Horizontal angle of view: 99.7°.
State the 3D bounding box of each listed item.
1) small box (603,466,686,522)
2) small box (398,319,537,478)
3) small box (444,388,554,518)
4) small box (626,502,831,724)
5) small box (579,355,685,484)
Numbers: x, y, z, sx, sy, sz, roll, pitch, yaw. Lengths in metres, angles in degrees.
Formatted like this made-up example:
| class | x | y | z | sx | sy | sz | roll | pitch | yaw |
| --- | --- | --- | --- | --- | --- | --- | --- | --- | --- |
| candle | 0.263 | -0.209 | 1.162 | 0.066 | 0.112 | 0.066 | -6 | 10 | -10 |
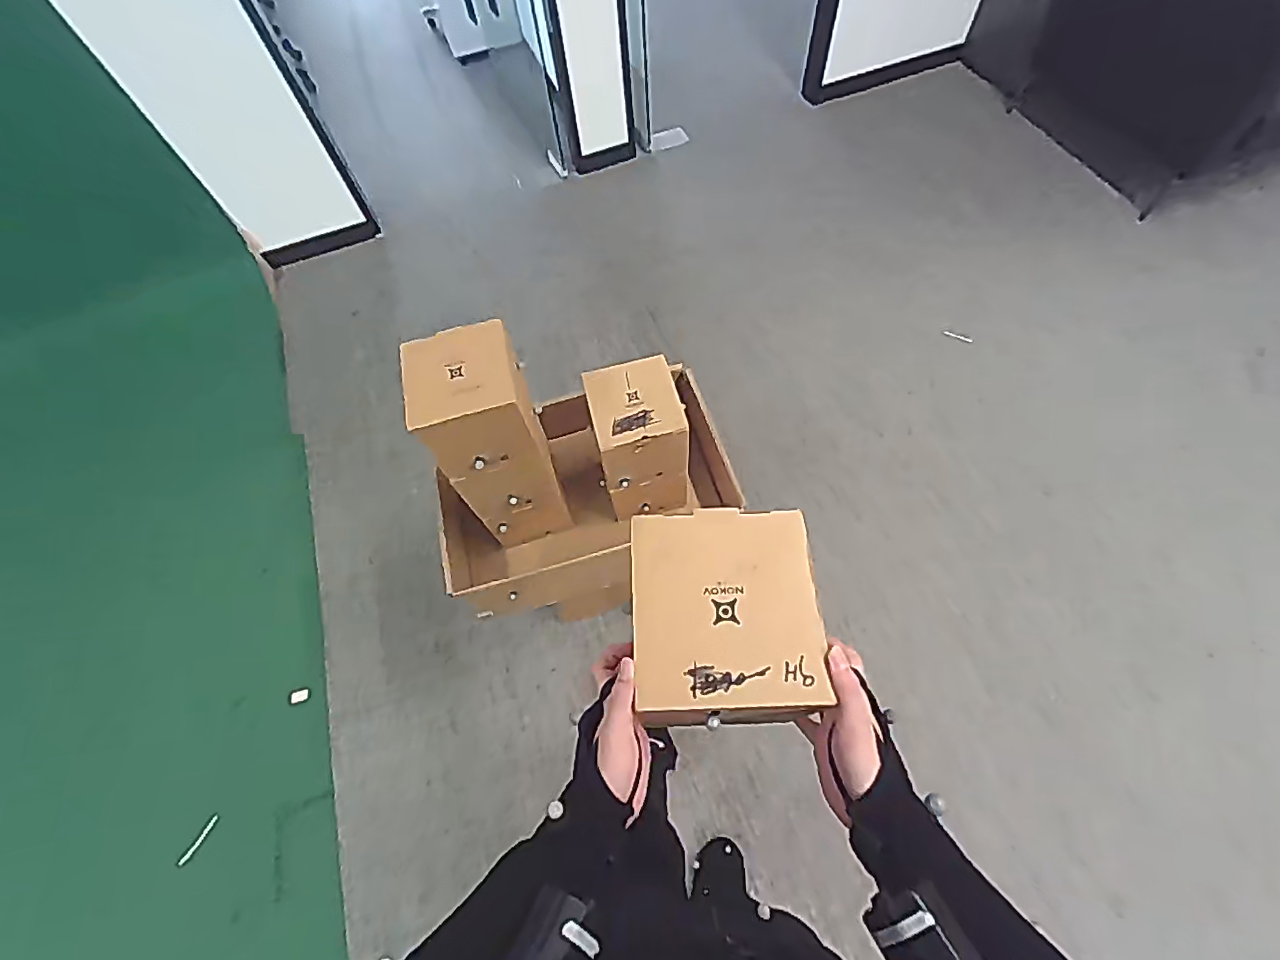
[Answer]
| class | x | y | z | sx | sy | sz | roll | pitch | yaw |
| --- | --- | --- | --- | --- | --- | --- | --- | --- | --- |
| small box | -0.001 | -0.032 | 1.195 | 0.168 | 0.176 | 0.179 | -15 | 63 | -4 |
| small box | -0.280 | -0.129 | 0.894 | 0.168 | 0.176 | 0.179 | -16 | 62 | -3 |
| small box | -0.273 | -0.053 | 1.038 | 0.168 | 0.176 | 0.179 | -16 | 62 | -4 |
| small box | 0.071 | 0.138 | 0.539 | 0.168 | 0.176 | 0.179 | -2 | 61 | 1 |
| small box | -0.011 | -0.108 | 1.049 | 0.168 | 0.176 | 0.179 | -14 | 62 | -3 |
